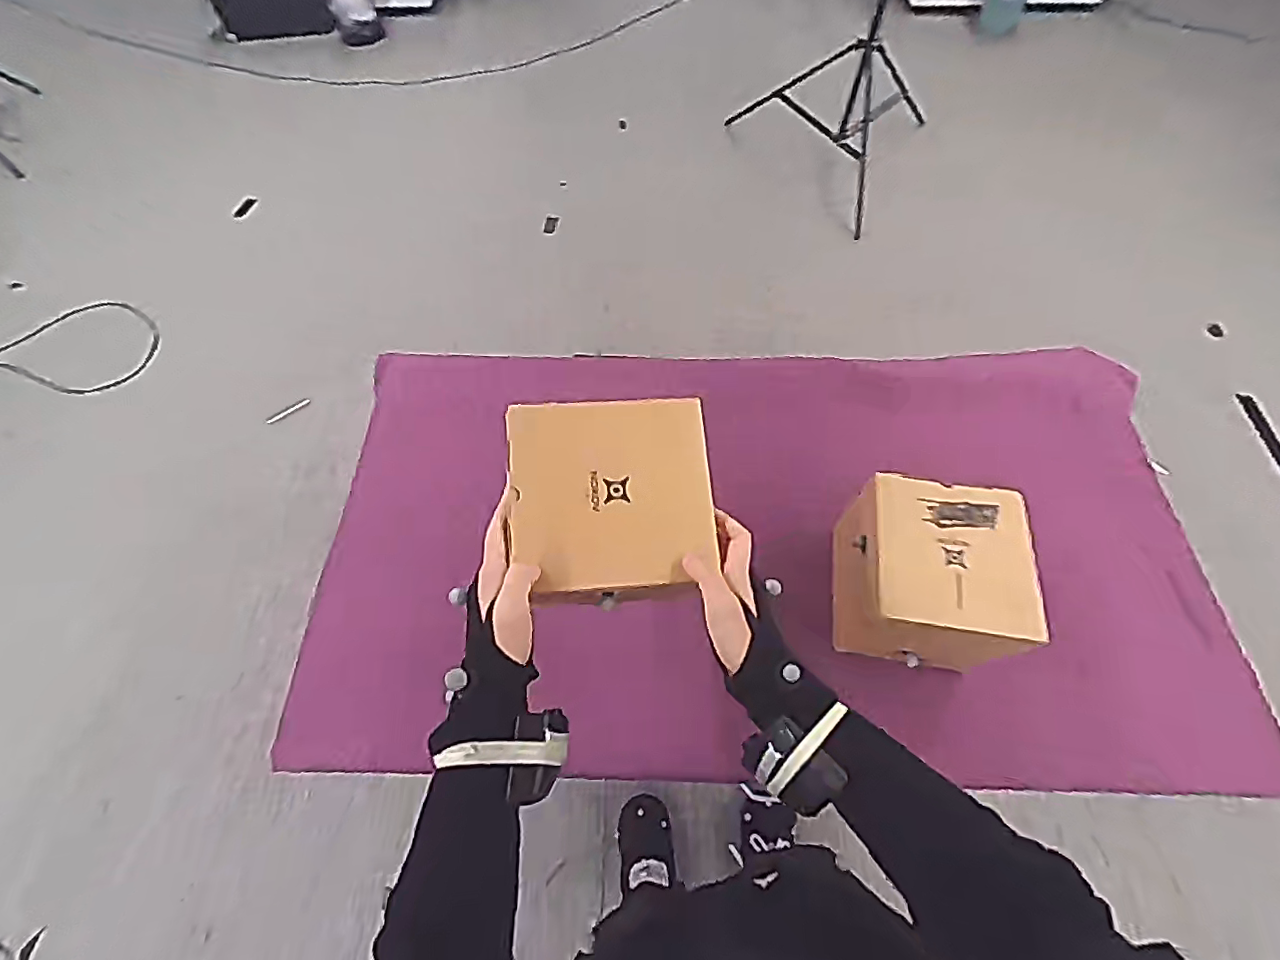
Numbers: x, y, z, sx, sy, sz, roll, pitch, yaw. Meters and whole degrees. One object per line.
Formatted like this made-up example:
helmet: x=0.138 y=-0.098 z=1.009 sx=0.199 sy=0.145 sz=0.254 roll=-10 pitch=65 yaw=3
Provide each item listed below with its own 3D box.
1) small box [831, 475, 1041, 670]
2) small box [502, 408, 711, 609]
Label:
small box: x=0.340 y=0.118 z=0.662 sx=0.168 sy=0.176 sz=0.179 roll=8 pitch=62 yaw=6
small box: x=-0.039 y=0.037 z=0.545 sx=0.179 sy=0.176 sz=0.168 roll=-4 pitch=74 yaw=-6
